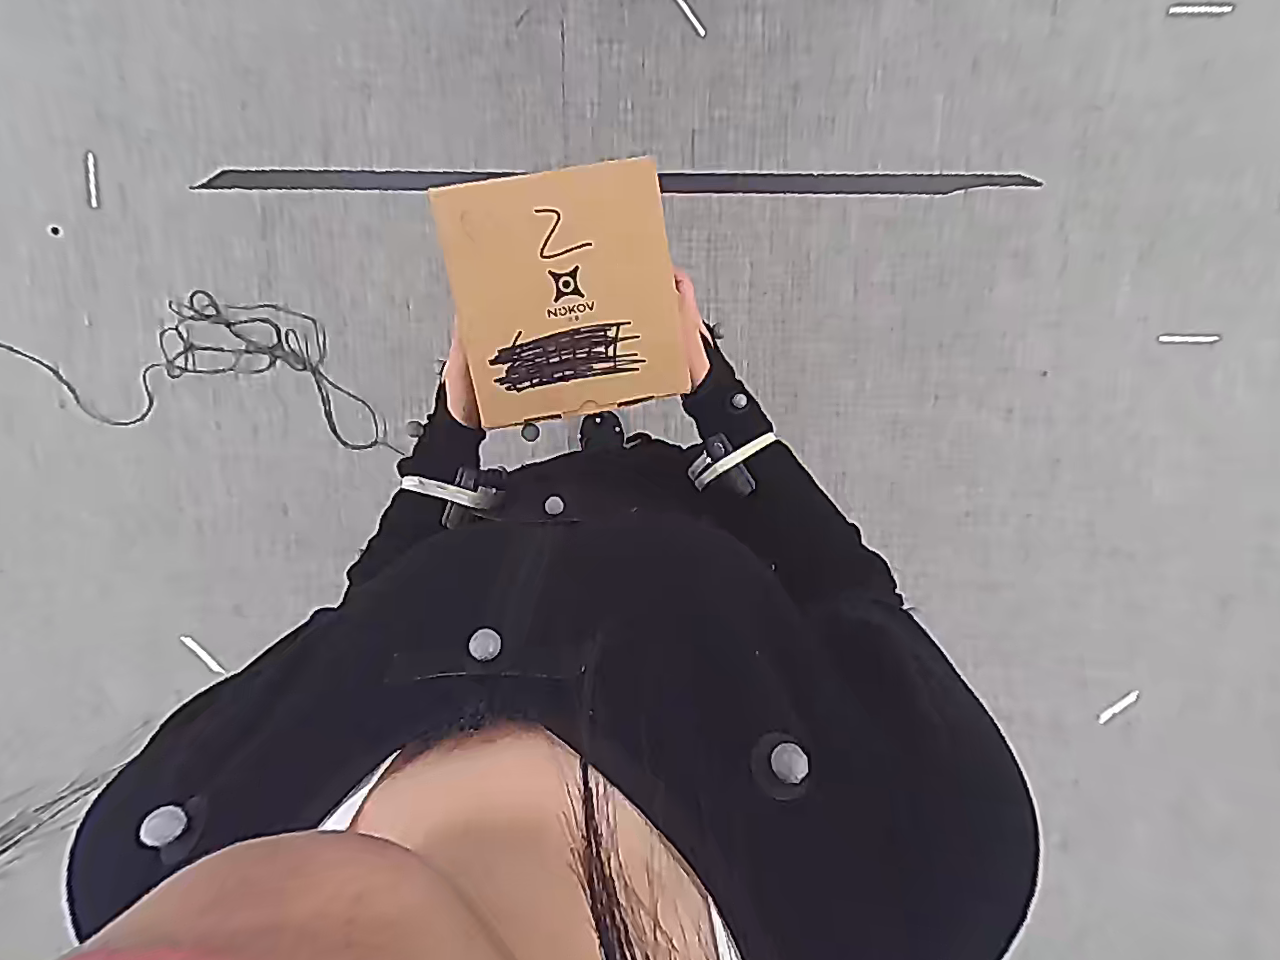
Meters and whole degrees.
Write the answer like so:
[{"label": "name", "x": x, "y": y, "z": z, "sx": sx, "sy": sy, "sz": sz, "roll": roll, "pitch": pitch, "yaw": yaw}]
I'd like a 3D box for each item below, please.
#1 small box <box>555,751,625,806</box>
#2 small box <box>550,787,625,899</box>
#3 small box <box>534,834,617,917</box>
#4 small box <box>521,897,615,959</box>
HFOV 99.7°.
[{"label": "small box", "x": -0.133, "y": 0.871, "z": 1.490, "sx": 0.179, "sy": 0.176, "sz": 0.168, "roll": 0, "pitch": 95, "yaw": 0}, {"label": "small box", "x": -0.126, "y": 0.882, "z": 1.326, "sx": 0.179, "sy": 0.176, "sz": 0.168, "roll": 3, "pitch": 94, "yaw": 0}, {"label": "small box", "x": -0.136, "y": 0.900, "z": 1.164, "sx": 0.168, "sy": 0.176, "sz": 0.179, "roll": 2, "pitch": 94, "yaw": 0}, {"label": "small box", "x": -0.133, "y": 0.917, "z": 1.001, "sx": 0.168, "sy": 0.176, "sz": 0.179, "roll": 1, "pitch": 96, "yaw": 0}]
